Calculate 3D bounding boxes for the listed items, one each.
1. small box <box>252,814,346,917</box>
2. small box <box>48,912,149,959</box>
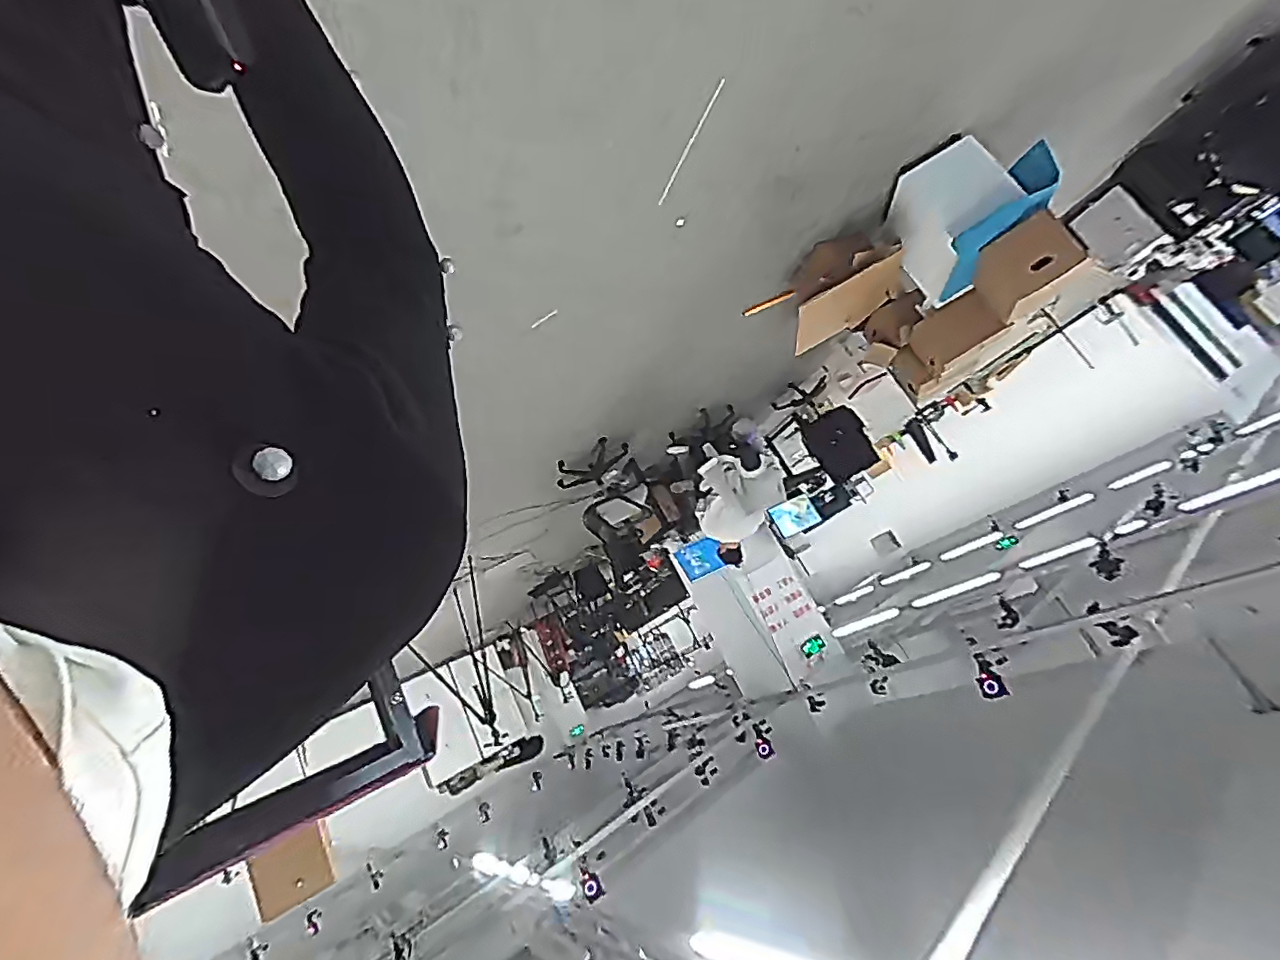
[{"bbox_3d":[-0.950,1.062,1.514,0.179,0.176,0.168,-19,163,-31],"label":"small box"},{"bbox_3d":[-1.326,1.200,1.311,0.168,0.176,0.179,-17,163,-38],"label":"small box"}]
